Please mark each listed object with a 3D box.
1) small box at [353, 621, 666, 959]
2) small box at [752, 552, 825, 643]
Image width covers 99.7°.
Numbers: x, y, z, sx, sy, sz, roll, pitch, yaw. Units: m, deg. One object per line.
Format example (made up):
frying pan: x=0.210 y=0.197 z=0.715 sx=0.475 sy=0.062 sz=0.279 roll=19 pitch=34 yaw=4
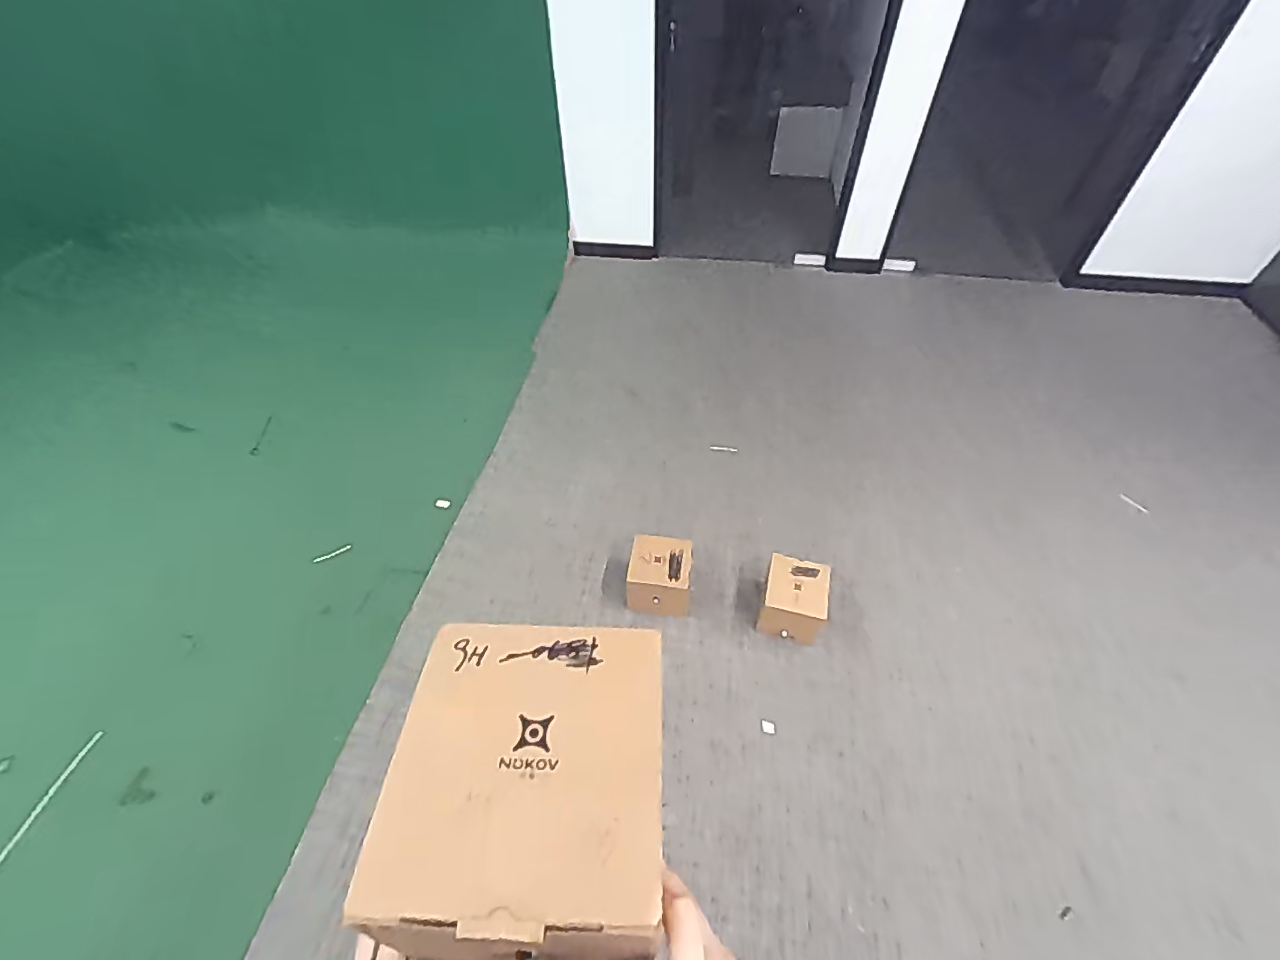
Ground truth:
small box: x=-0.068 y=0.225 z=0.393 sx=0.168 sy=0.176 sz=0.179 roll=3 pitch=44 yaw=0
small box: x=0.423 y=0.338 z=1.549 sx=0.168 sy=0.176 sz=0.179 roll=12 pitch=51 yaw=10
